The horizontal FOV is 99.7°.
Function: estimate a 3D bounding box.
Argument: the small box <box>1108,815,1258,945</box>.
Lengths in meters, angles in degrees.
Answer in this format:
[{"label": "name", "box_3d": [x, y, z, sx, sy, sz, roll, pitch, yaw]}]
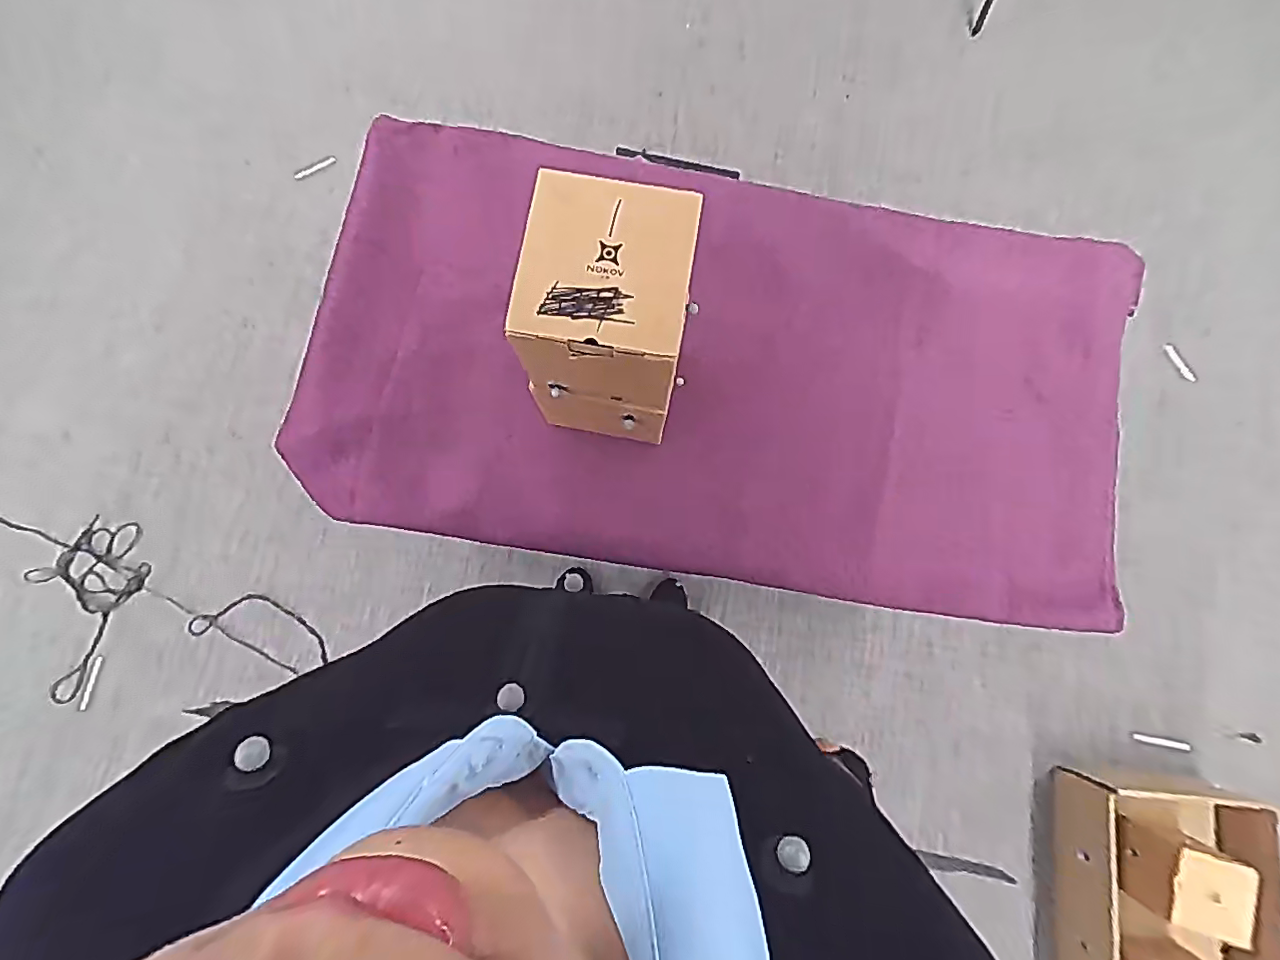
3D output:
[{"label": "small box", "box_3d": [1.272, 0.931, 1.277, 0.179, 0.176, 0.168, 16, 83, 2]}]

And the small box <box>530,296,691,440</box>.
[{"label": "small box", "box_3d": [-0.036, -0.161, 0.752, 0.179, 0.176, 0.168, 11, 81, 1]}]

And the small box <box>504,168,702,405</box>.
[{"label": "small box", "box_3d": [-0.033, -0.195, 0.591, 0.168, 0.176, 0.179, 9, 80, 1]}]
